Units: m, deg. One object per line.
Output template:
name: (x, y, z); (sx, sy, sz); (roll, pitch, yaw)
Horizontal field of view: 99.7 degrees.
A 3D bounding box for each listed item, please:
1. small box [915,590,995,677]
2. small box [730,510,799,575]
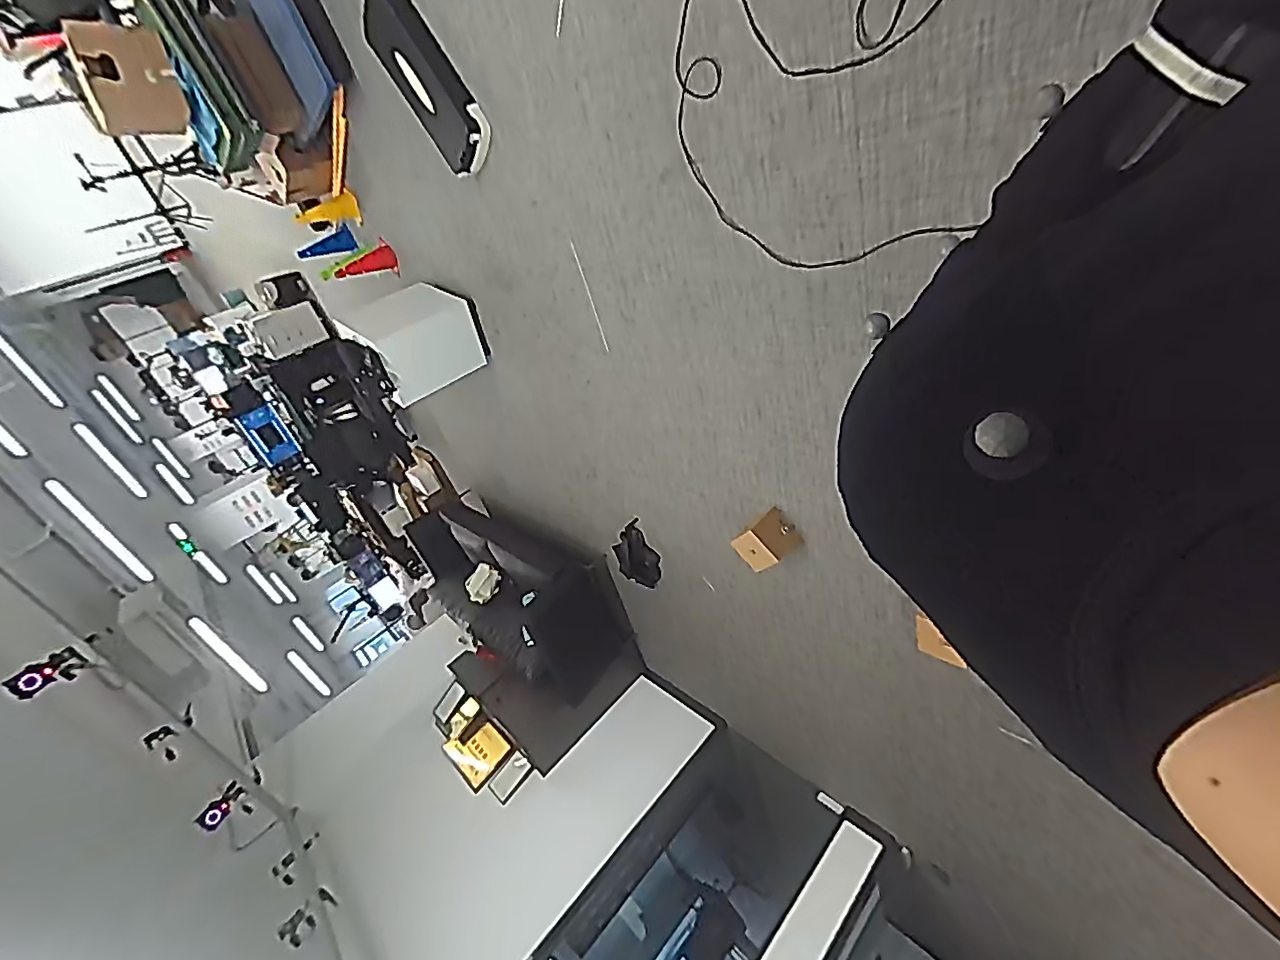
small box: (0.998, 0.475, 1.707); (0.179, 0.176, 0.168); (17, 135, 47)
small box: (0.503, 0.251, 2.174); (0.168, 0.176, 0.179); (48, 150, 6)
